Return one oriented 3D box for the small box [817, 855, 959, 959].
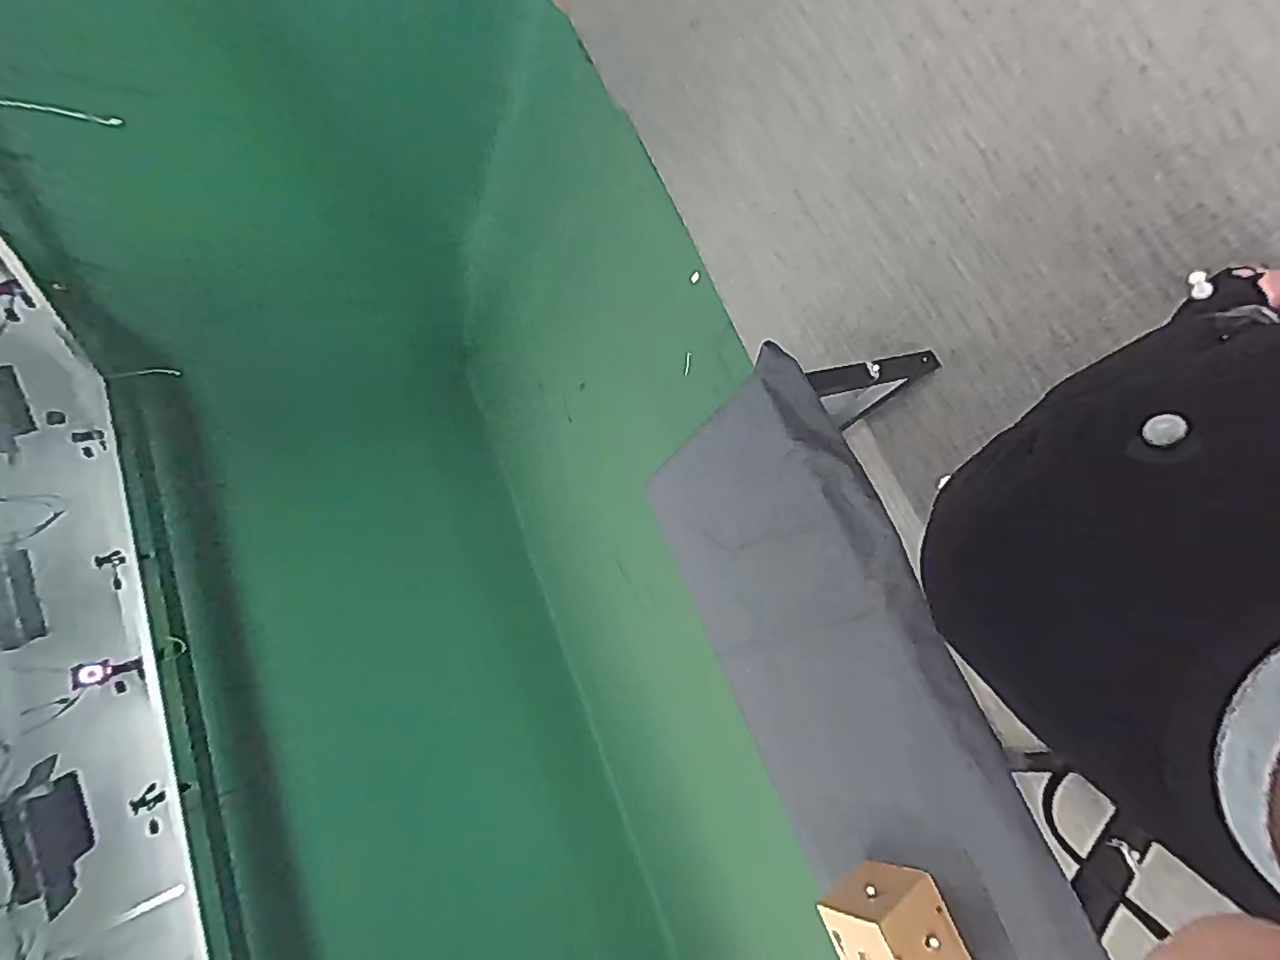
[{"bbox_3d":[0.505,0.895,1.091,0.179,0.176,0.168,-45,64,53],"label":"small box"}]
